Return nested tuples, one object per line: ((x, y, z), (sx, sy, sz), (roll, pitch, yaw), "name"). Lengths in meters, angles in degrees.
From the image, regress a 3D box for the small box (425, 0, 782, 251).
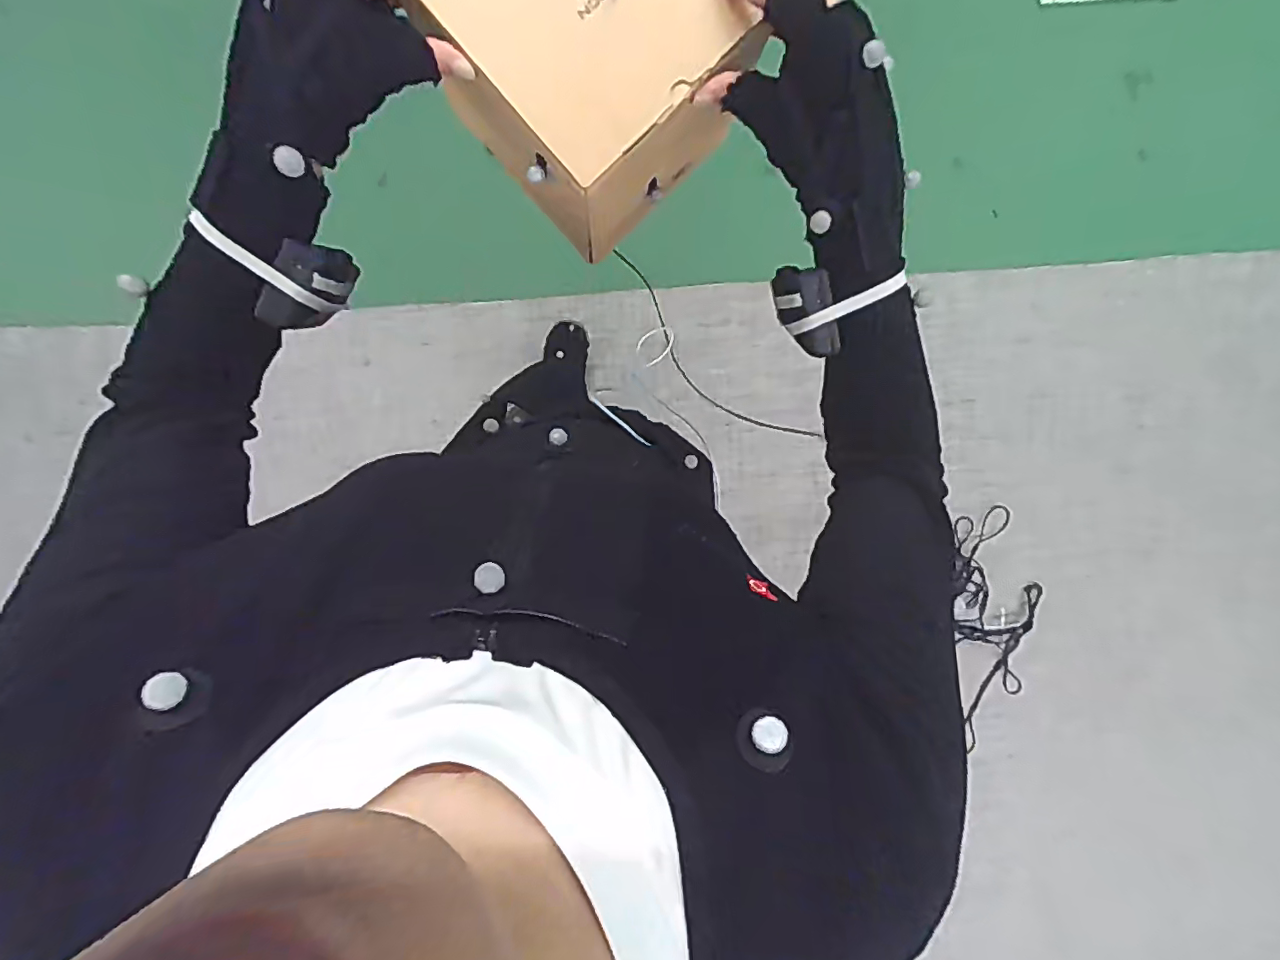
((-0.033, -0.308, 0.404), (0.168, 0.176, 0.179), (-42, 99, 2), "small box")
